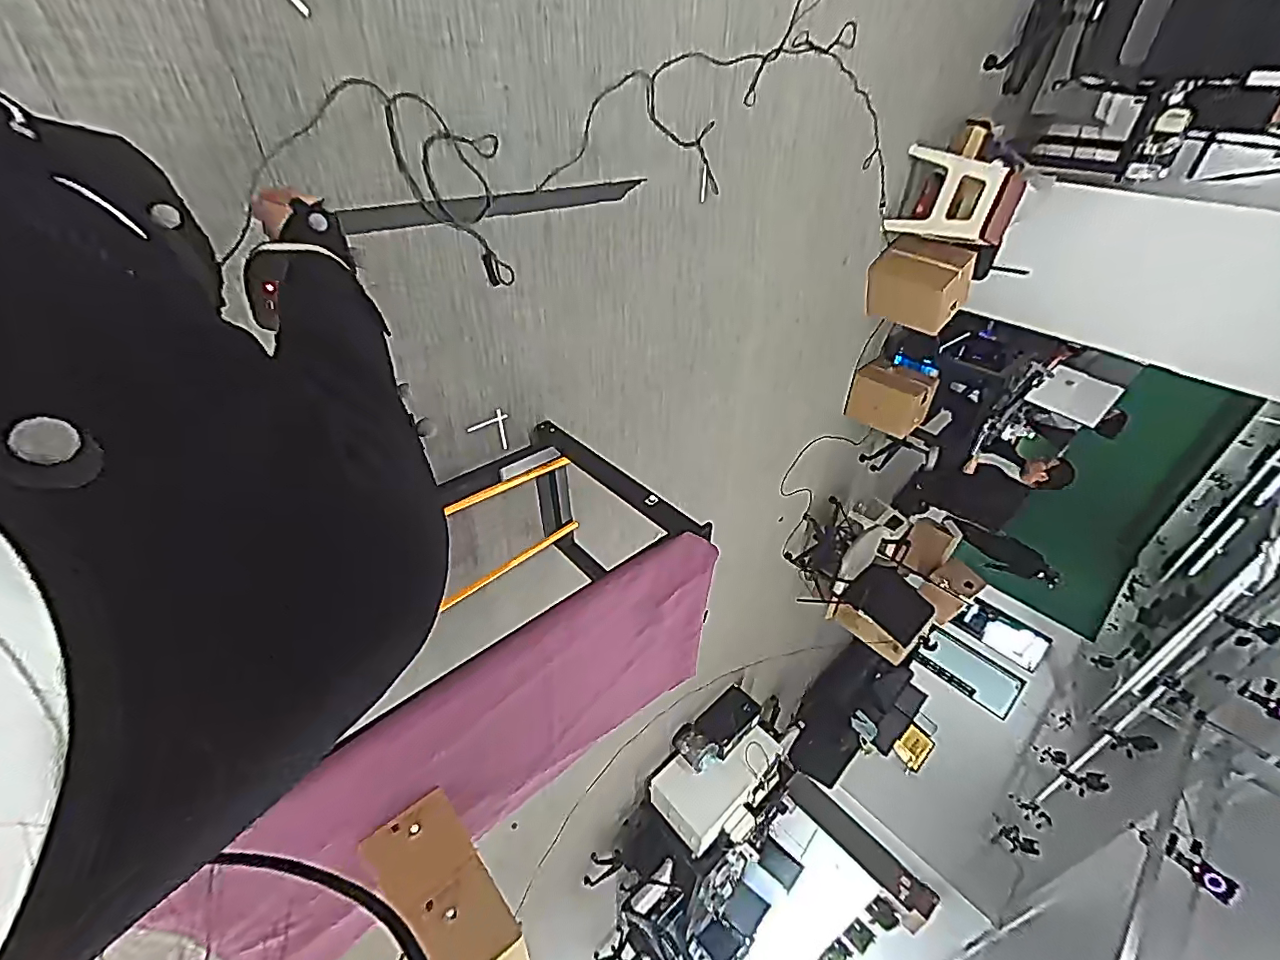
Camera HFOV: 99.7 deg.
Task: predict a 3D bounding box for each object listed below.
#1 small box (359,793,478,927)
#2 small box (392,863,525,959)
[{"bbox_3d":[-0.438,0.780,1.088,0.168,0.176,0.179,-26,134,-36],"label":"small box"},{"bbox_3d":[-0.328,0.856,0.991,0.168,0.176,0.179,-26,135,-36],"label":"small box"}]
